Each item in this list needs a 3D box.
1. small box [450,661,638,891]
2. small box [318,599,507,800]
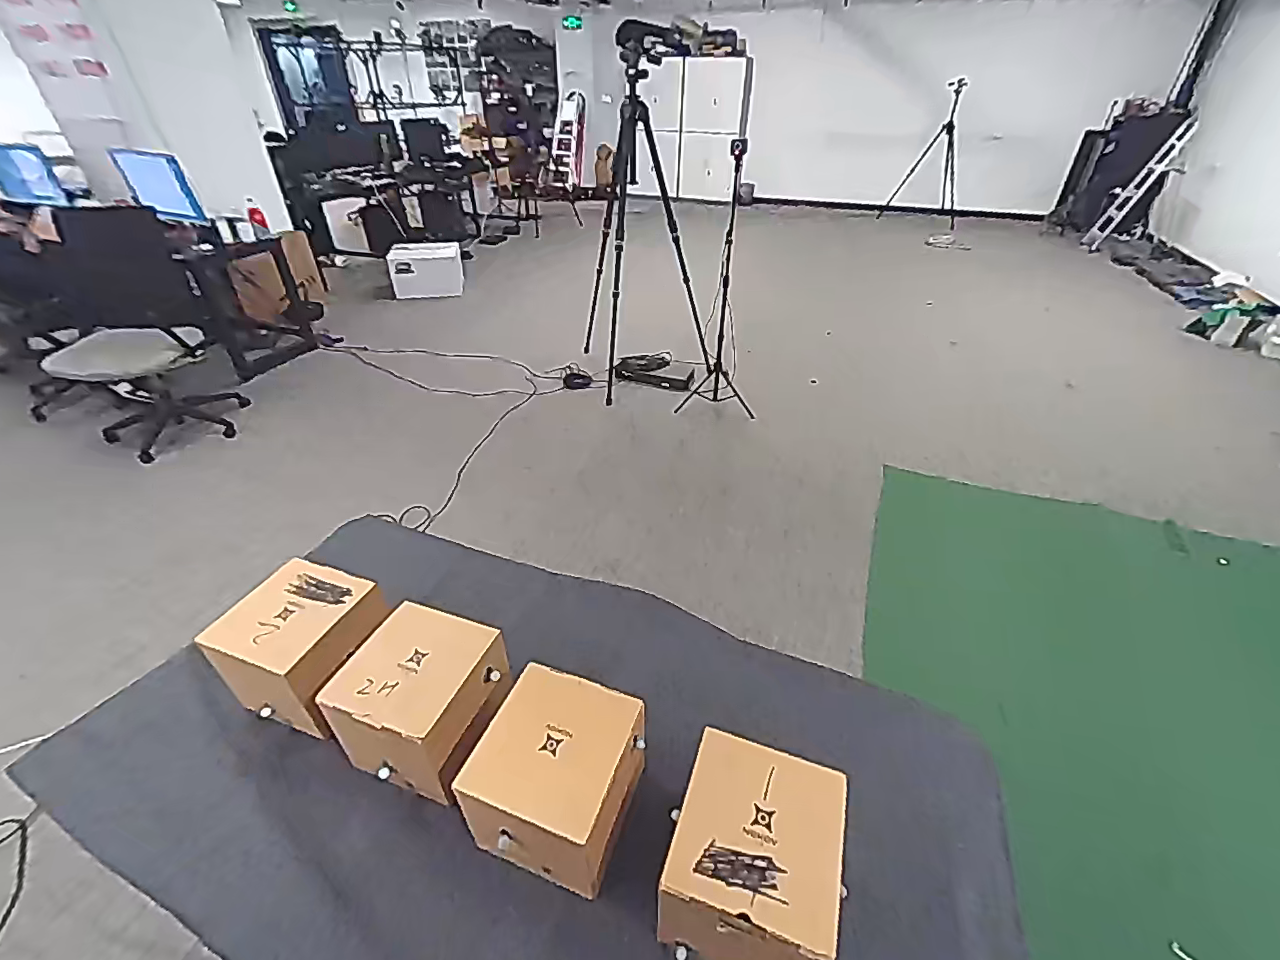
[{"bbox_3d":[-0.105,0.371,0.683,0.168,0.176,0.179,13,37,16],"label":"small box"},{"bbox_3d":[-0.303,0.306,0.766,0.168,0.176,0.179,12,38,16],"label":"small box"}]
